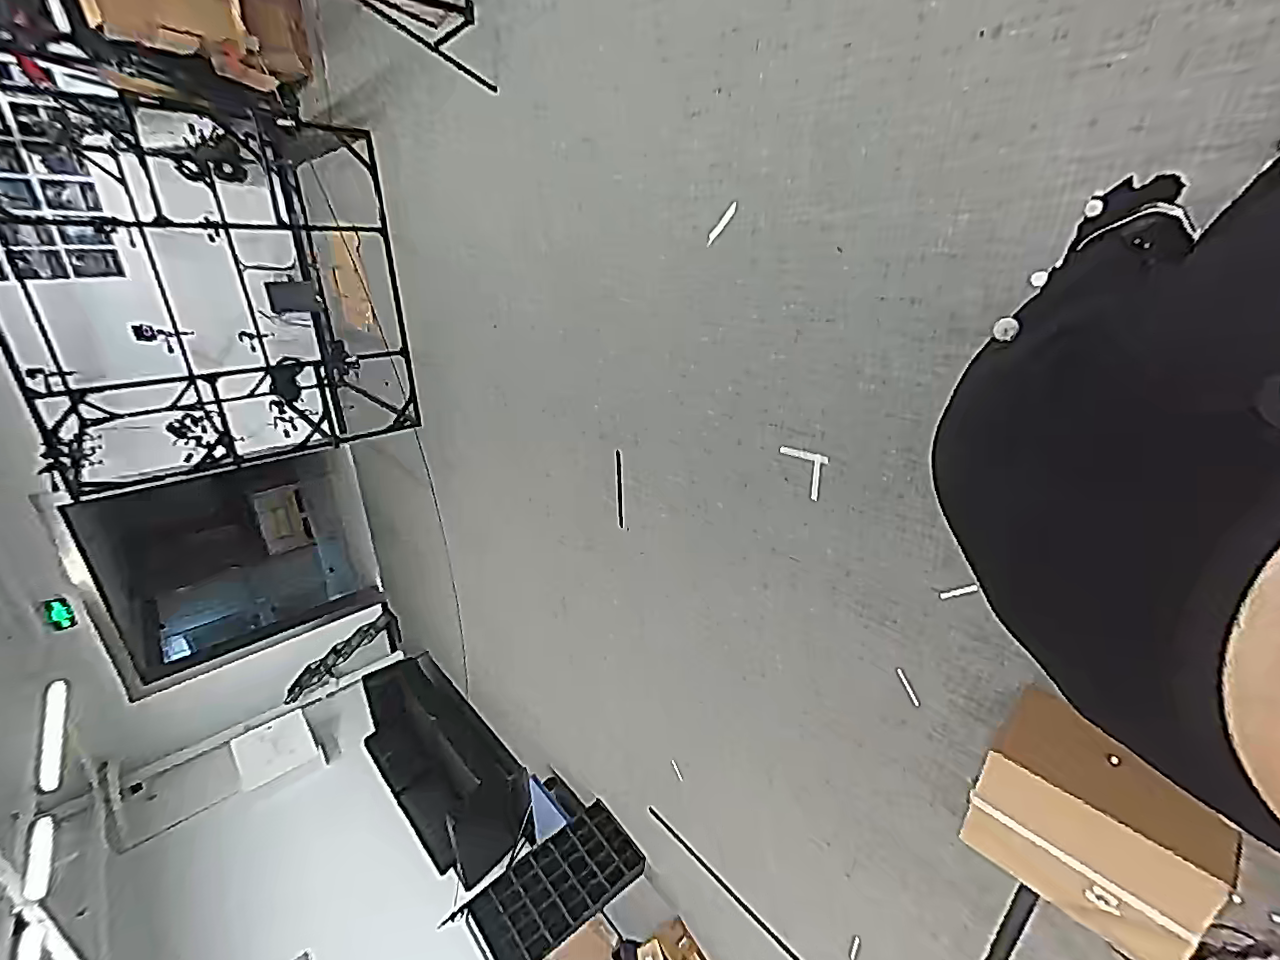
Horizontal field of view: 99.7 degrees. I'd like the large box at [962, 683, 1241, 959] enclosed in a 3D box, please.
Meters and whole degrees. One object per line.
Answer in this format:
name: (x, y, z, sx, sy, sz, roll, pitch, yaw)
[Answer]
large box: (1.046, 0.758, 1.256, 0.408, 0.320, 0.320, 23, 122, 42)
